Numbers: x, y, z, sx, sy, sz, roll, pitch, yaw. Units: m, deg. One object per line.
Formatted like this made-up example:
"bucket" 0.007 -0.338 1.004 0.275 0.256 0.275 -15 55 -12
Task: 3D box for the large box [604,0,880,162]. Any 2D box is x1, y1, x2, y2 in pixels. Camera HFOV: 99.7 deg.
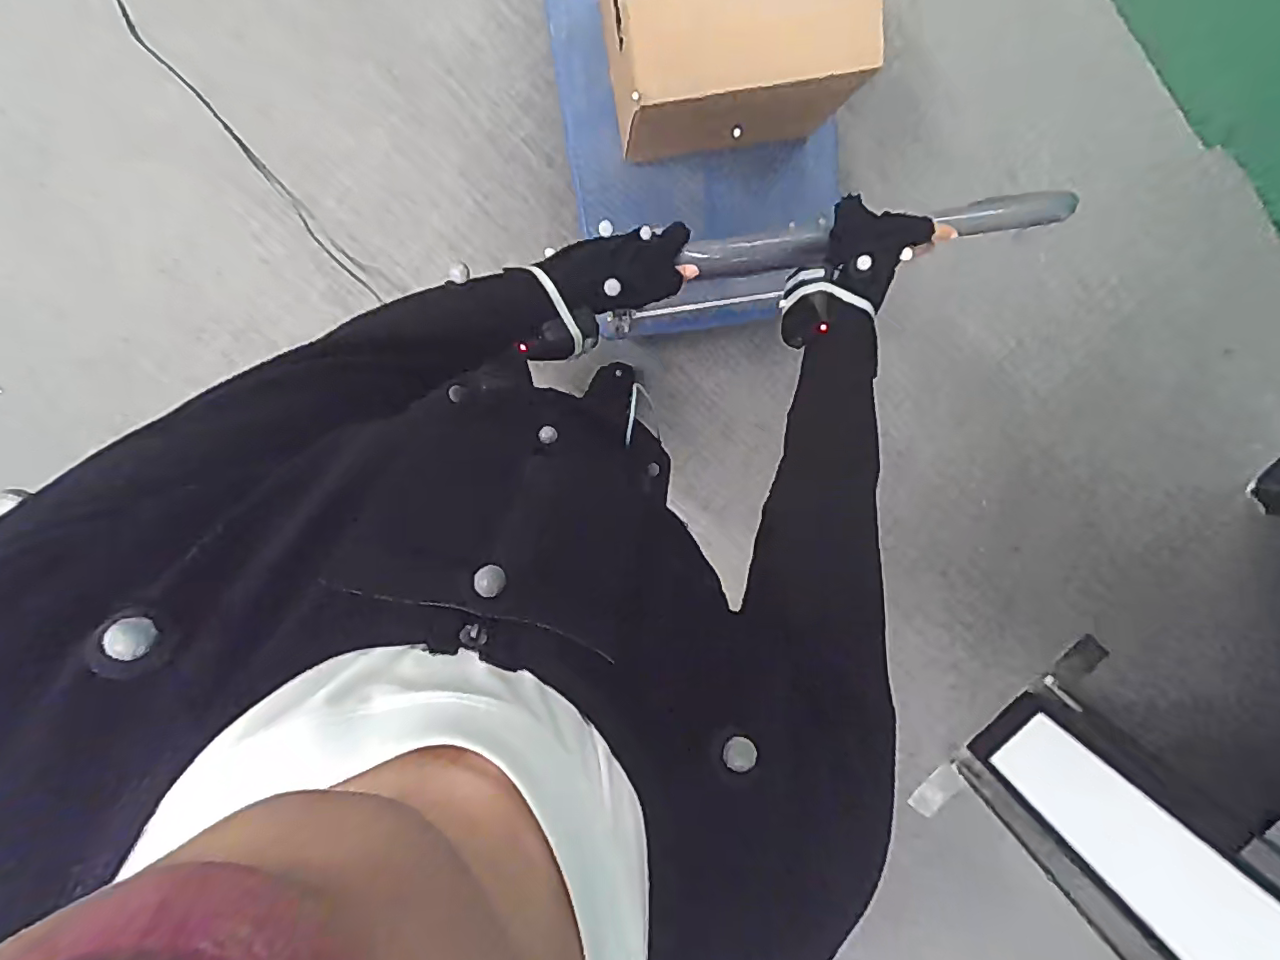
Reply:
"large box" 0.161 -0.817 0.977 0.408 0.320 0.320 -11 105 -2
